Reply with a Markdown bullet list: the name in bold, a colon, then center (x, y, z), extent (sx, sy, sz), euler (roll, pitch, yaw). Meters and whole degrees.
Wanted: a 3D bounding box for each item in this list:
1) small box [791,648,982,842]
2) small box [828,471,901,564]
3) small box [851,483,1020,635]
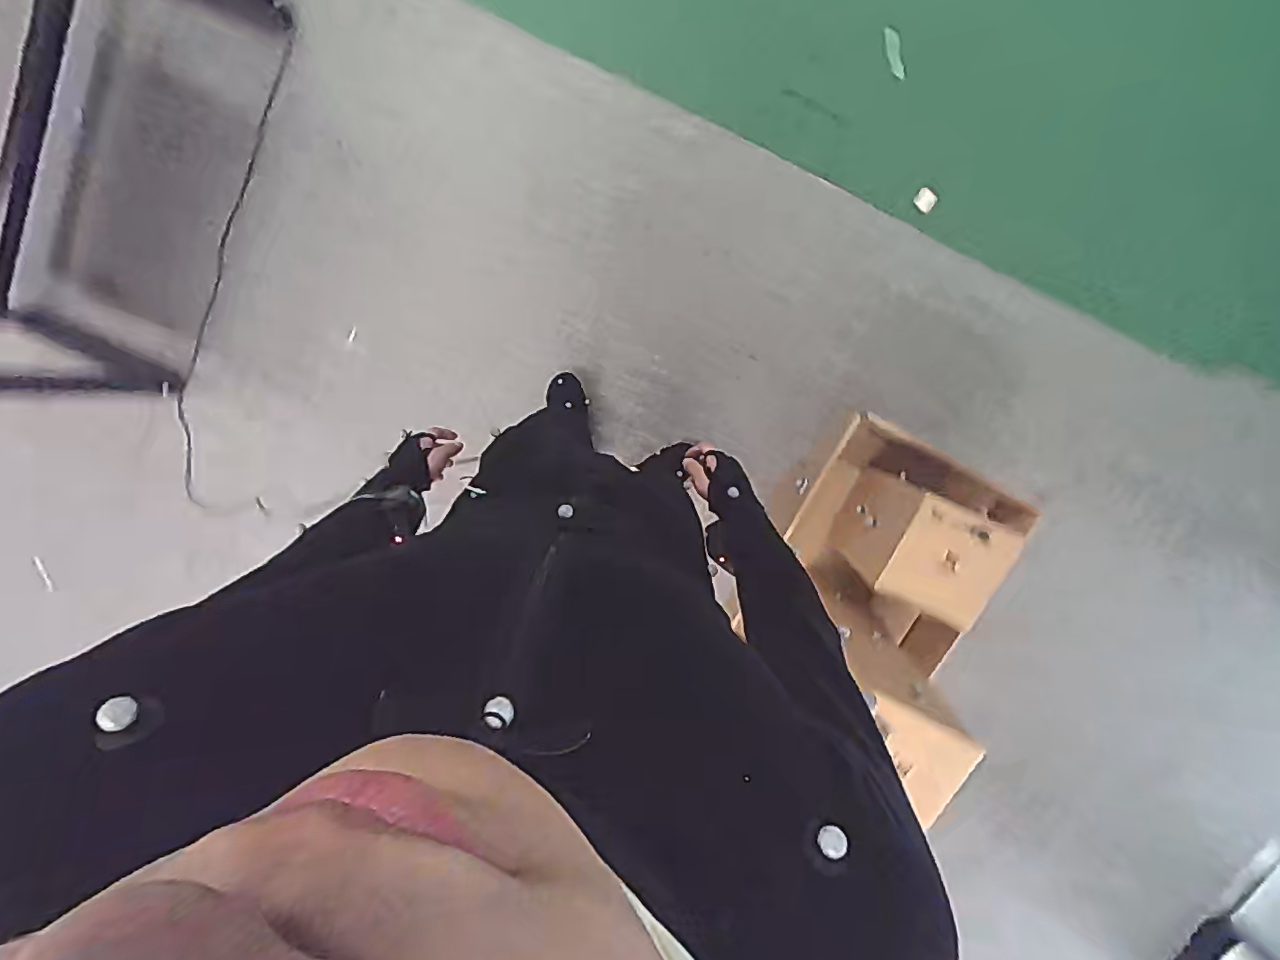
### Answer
- **small box**: center (0.351, 0.380, 0.814), extent (0.179, 0.176, 0.168), euler (29, 101, 0)
- **small box**: center (0.503, 0.098, 1.088), extent (0.168, 0.176, 0.179), euler (28, 102, 1)
- **small box**: center (0.486, 0.125, 0.928), extent (0.168, 0.176, 0.179), euler (26, 101, 1)
